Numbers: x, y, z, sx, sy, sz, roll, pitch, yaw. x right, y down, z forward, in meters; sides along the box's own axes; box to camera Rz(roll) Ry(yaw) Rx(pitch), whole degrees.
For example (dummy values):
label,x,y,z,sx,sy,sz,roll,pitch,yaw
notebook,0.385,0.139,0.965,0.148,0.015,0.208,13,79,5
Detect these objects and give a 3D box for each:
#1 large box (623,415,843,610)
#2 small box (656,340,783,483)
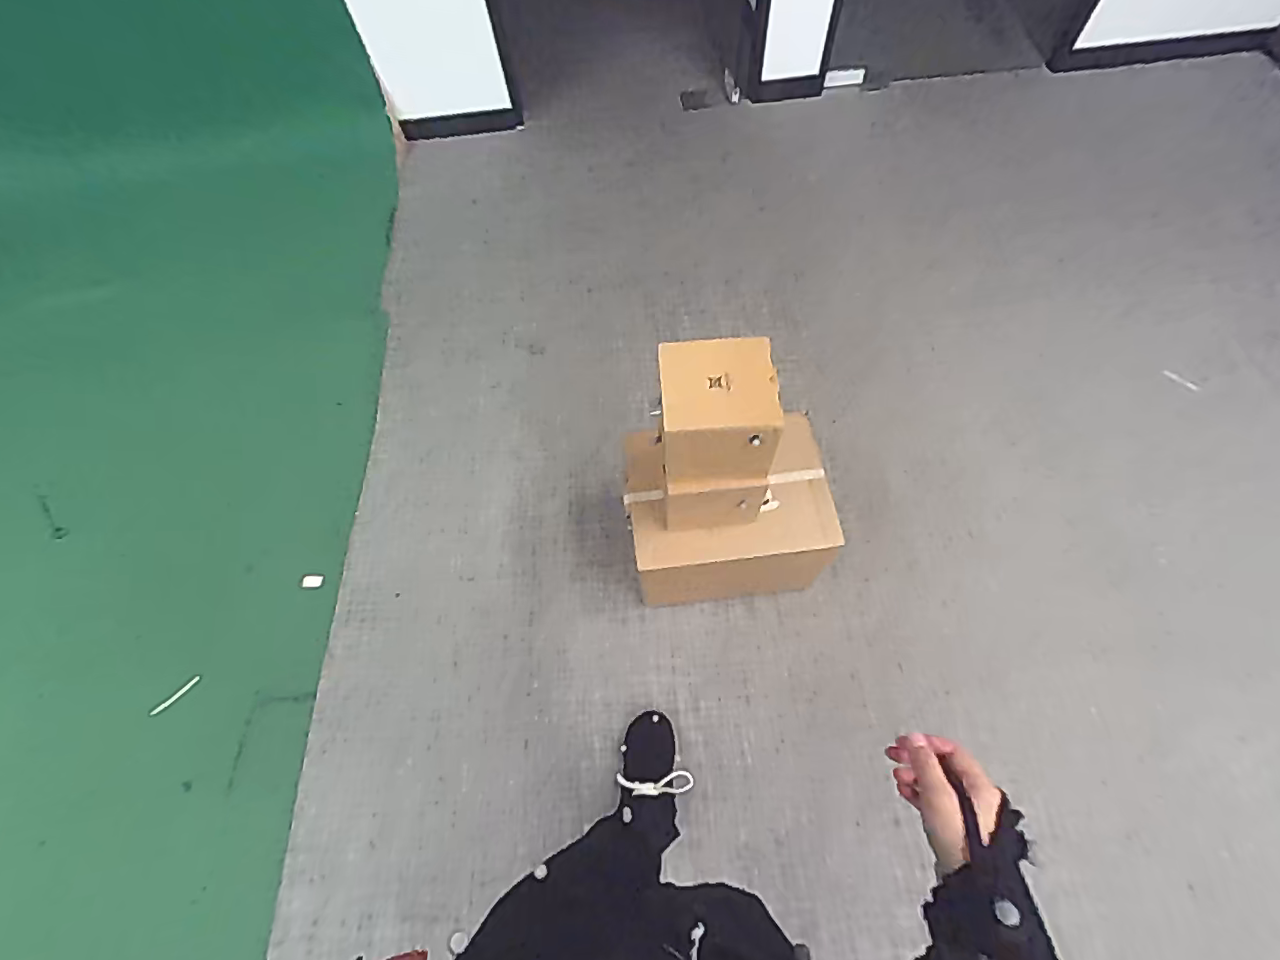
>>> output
label,x,y,z,sx,sy,sz,roll,pitch,yaw
large box,0.183,0.086,1.237,0.408,0.320,0.320,-7,64,-1
small box,0.120,-0.104,0.881,0.179,0.176,0.168,-3,63,1
